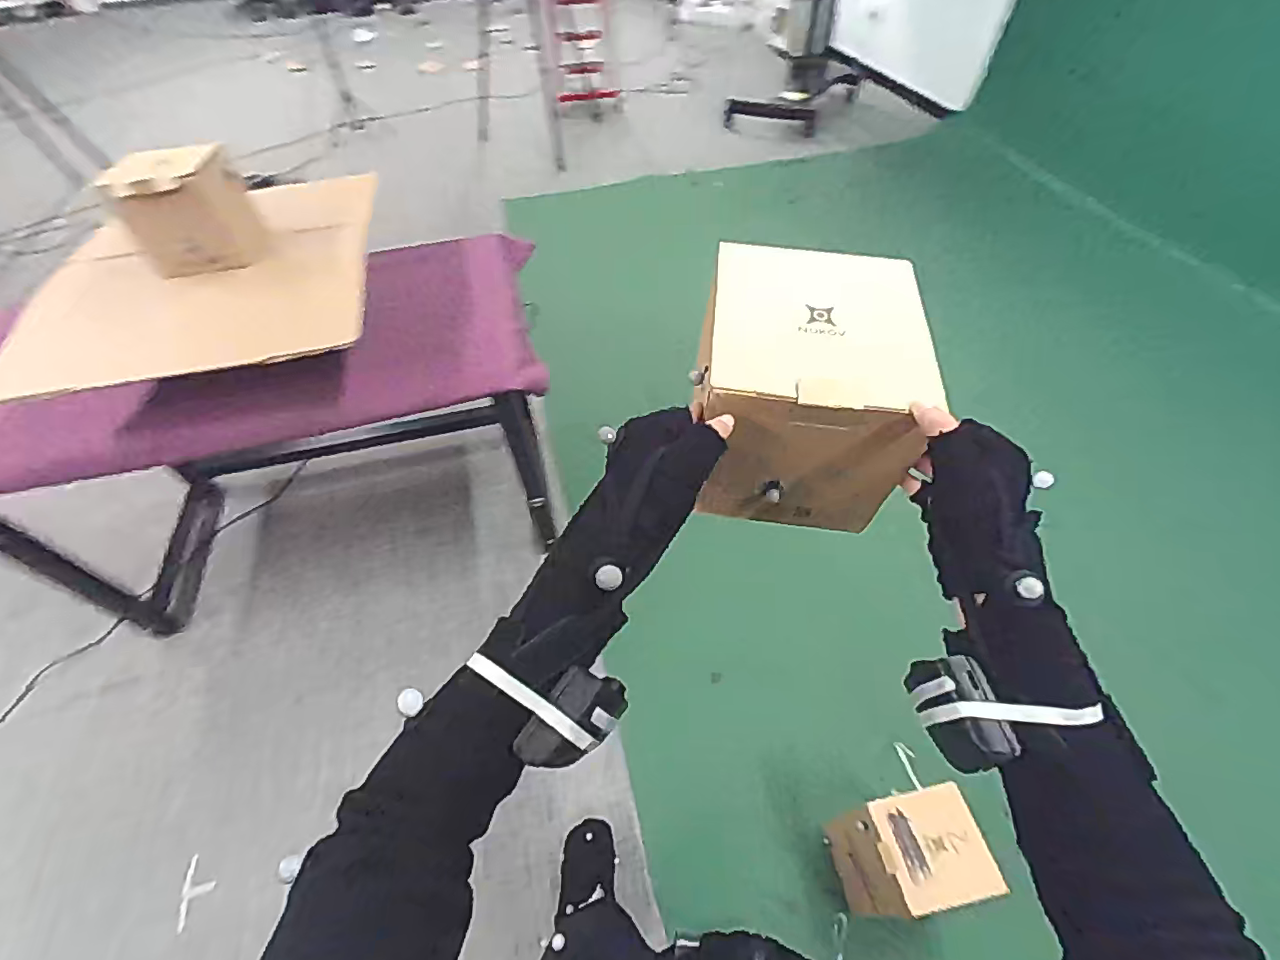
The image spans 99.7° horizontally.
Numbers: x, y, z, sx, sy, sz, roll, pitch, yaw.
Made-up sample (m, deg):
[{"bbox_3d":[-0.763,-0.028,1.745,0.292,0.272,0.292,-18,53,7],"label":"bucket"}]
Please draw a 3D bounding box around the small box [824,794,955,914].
[{"bbox_3d":[0.500,0.778,1.123,0.179,0.176,0.168,-13,52,-6],"label":"small box"}]

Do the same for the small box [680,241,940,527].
[{"bbox_3d":[0.128,-0.080,0.483,0.168,0.176,0.179,6,58,0],"label":"small box"}]

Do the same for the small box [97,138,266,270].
[{"bbox_3d":[-0.864,-0.531,1.045,0.168,0.176,0.179,-11,51,-6],"label":"small box"}]
